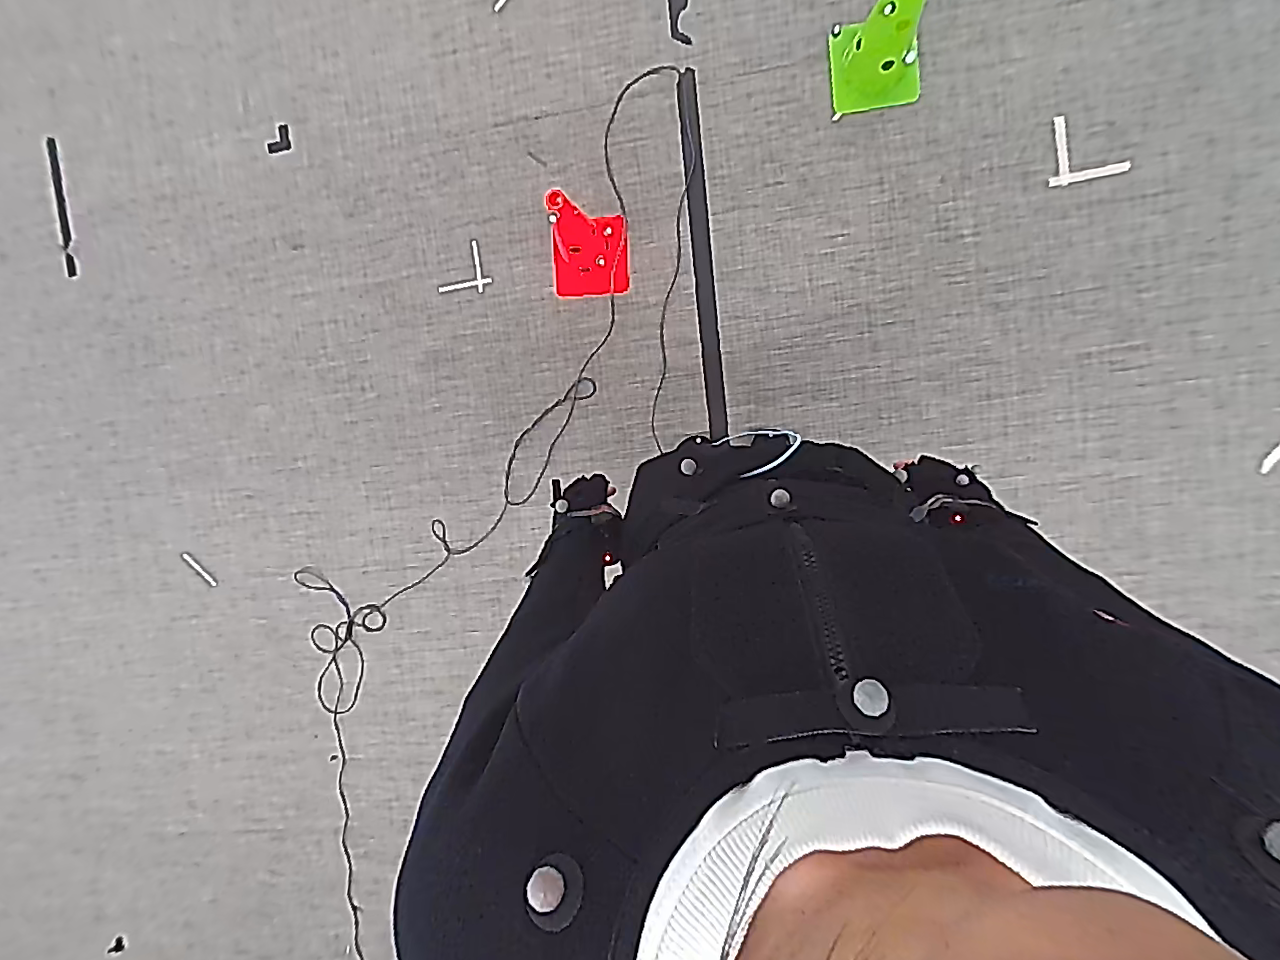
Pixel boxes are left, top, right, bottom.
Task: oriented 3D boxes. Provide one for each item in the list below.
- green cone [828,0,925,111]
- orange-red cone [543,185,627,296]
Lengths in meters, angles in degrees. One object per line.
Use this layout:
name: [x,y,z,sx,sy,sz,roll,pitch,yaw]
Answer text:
green cone: [0.540,-0.982,1.122,0.202,0.368,0.200,-6,94,6]
orange-red cone: [-0.154,-0.574,1.243,0.199,0.360,0.198,-1,93,8]
